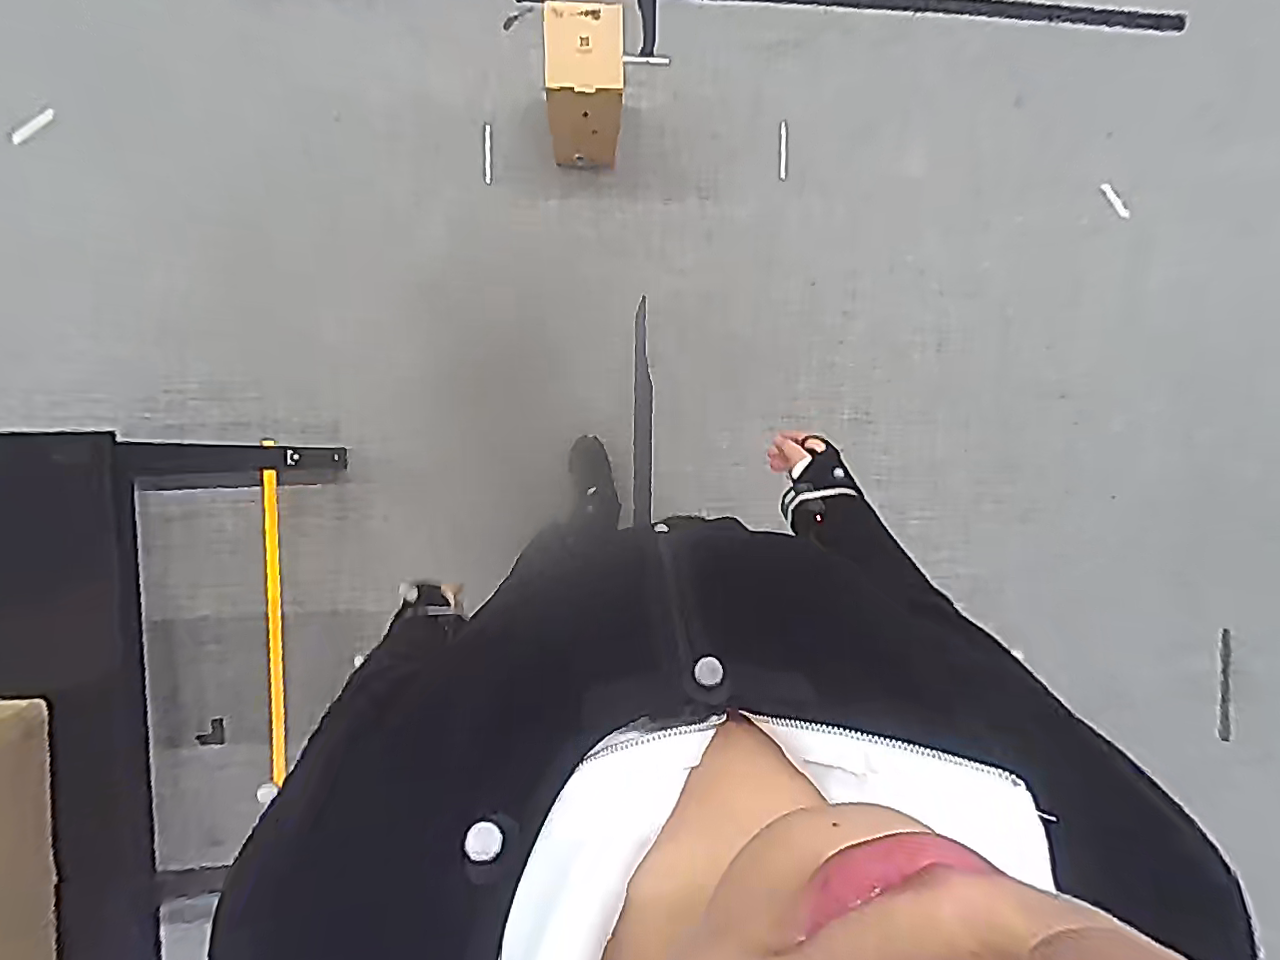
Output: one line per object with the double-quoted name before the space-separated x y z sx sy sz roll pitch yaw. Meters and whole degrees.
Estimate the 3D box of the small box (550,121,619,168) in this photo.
"small box" -0.141 -0.919 1.359 0.168 0.176 0.179 -2 94 -4

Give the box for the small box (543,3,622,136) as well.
"small box" -0.123 -0.895 1.196 0.168 0.176 0.179 -1 93 -4
